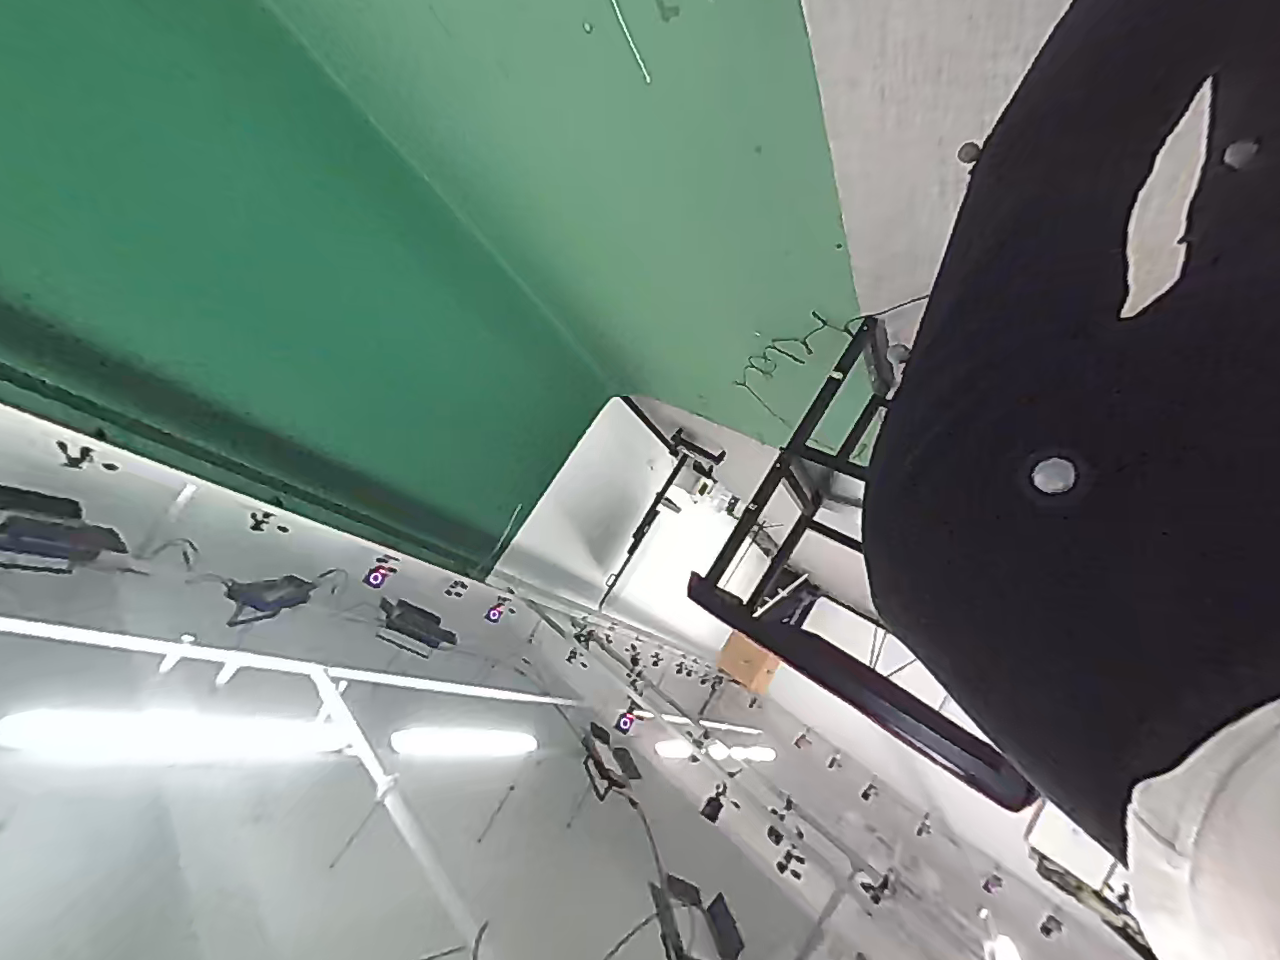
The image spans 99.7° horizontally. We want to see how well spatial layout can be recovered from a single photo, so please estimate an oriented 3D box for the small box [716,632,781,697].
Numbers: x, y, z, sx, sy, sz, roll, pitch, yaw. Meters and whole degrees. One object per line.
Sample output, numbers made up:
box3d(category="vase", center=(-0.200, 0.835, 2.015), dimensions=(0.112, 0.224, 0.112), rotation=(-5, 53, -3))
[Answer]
box3d(category="small box", center=(0.432, 0.718, 2.108), dimensions=(0.179, 0.176, 0.168), rotation=(26, 169, 38))
